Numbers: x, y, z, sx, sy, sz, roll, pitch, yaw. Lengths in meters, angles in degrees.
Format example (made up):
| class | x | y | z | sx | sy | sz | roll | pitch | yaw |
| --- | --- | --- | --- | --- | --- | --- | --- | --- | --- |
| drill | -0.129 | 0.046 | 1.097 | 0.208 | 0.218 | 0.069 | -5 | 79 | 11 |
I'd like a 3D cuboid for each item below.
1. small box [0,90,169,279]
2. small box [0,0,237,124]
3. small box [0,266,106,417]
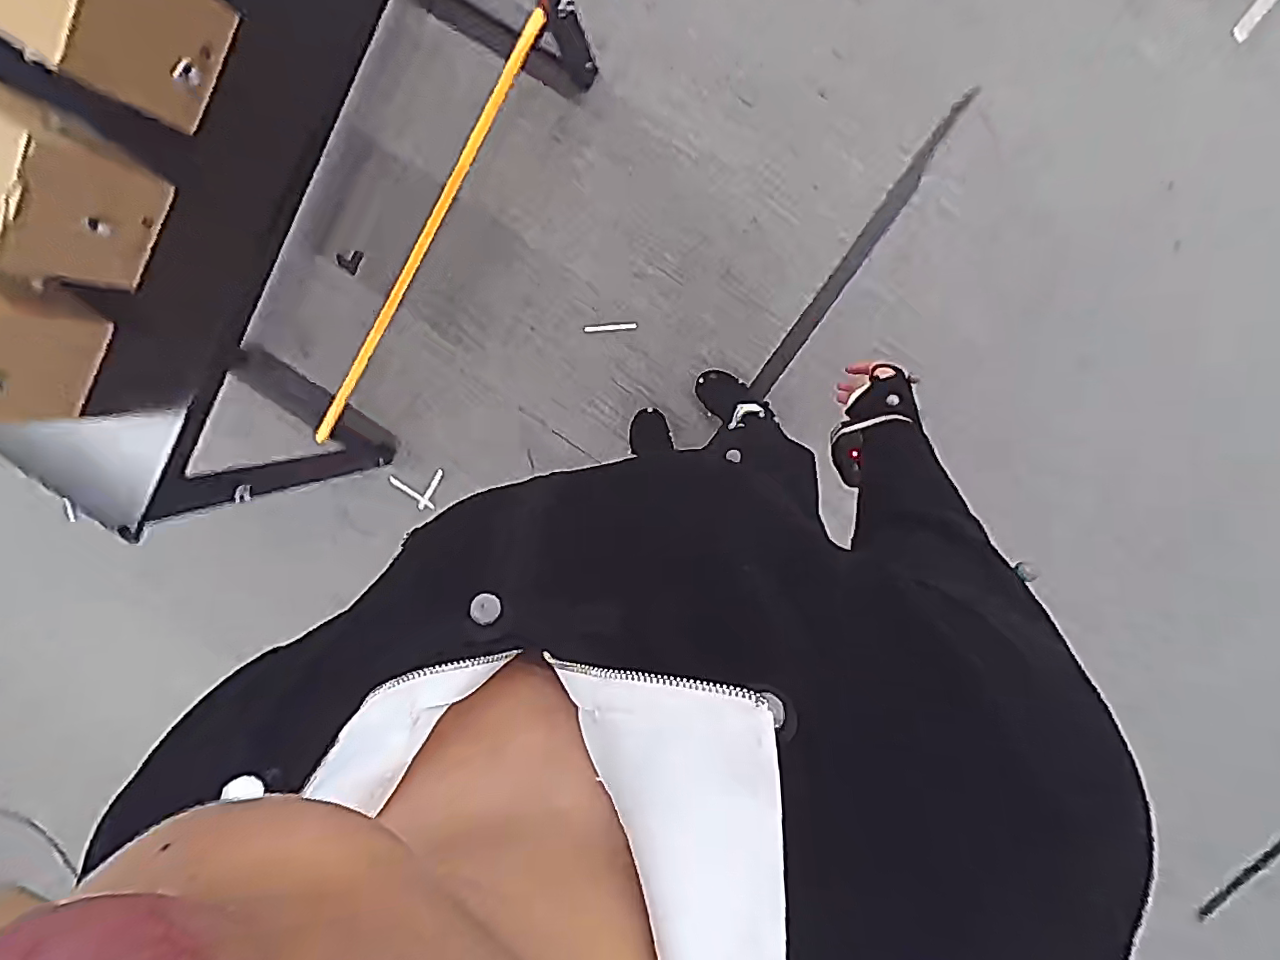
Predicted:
| class | x | y | z | sx | sy | sz | roll | pitch | yaw |
| --- | --- | --- | --- | --- | --- | --- | --- | --- | --- |
| small box | -0.780 | -0.383 | 0.702 | 0.179 | 0.176 | 0.168 | 35 | 102 | 0 |
| small box | -0.652 | -0.577 | 0.653 | 0.179 | 0.176 | 0.168 | 33 | 103 | 0 |
| small box | -0.912 | -0.197 | 0.749 | 0.168 | 0.176 | 0.179 | 34 | 101 | 0 |
